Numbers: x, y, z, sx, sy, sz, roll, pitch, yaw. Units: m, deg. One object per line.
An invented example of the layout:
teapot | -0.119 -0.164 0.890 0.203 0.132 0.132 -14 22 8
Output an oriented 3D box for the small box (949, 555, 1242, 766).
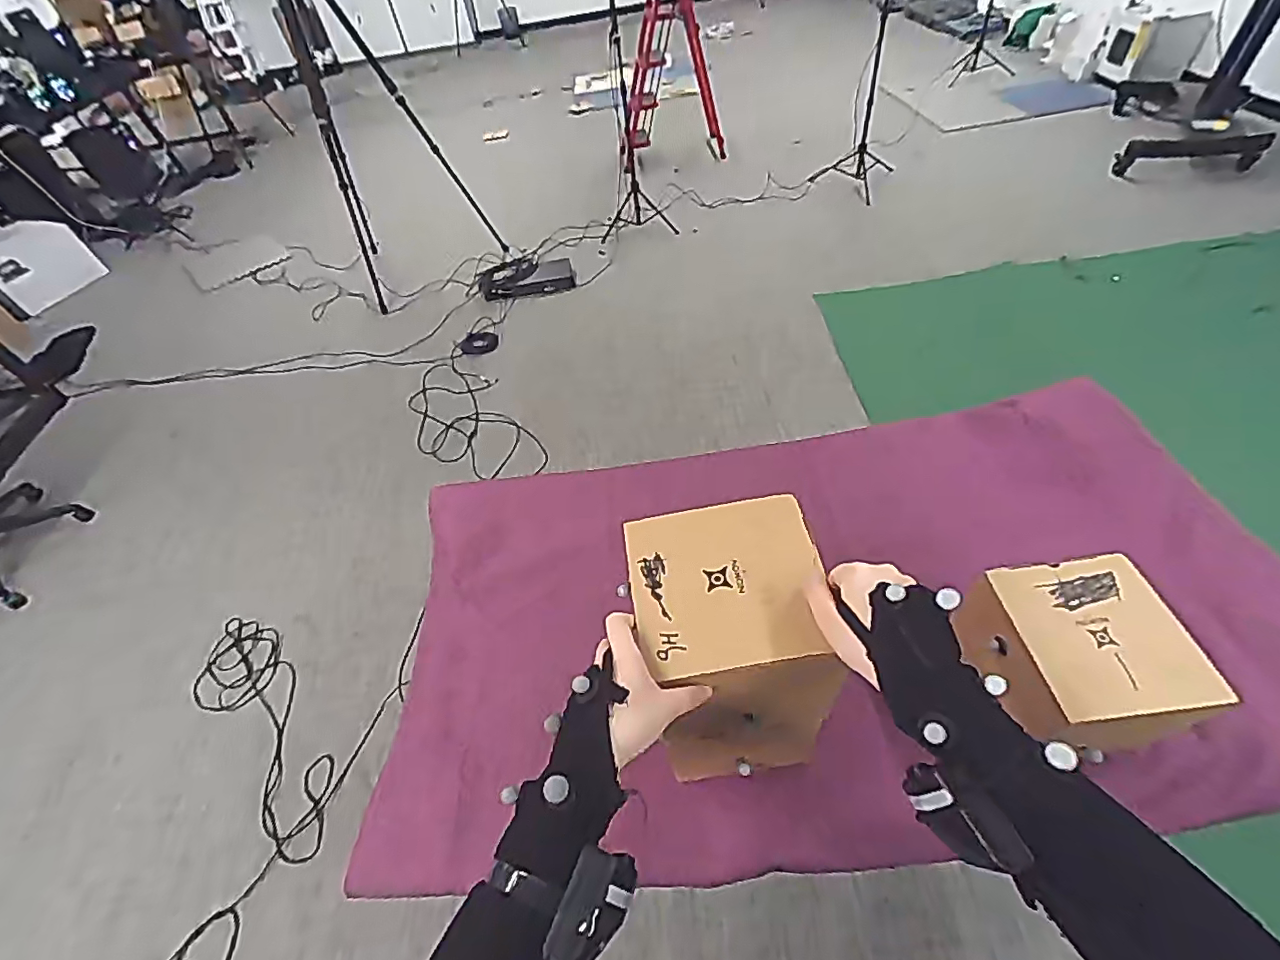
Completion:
small box | 0.497 0.213 0.633 0.168 0.176 0.179 -8 49 3

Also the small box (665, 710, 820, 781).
small box | 0.105 0.245 0.665 0.168 0.176 0.179 -9 47 2

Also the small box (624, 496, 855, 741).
small box | 0.084 0.140 0.535 0.179 0.176 0.168 -9 47 1
